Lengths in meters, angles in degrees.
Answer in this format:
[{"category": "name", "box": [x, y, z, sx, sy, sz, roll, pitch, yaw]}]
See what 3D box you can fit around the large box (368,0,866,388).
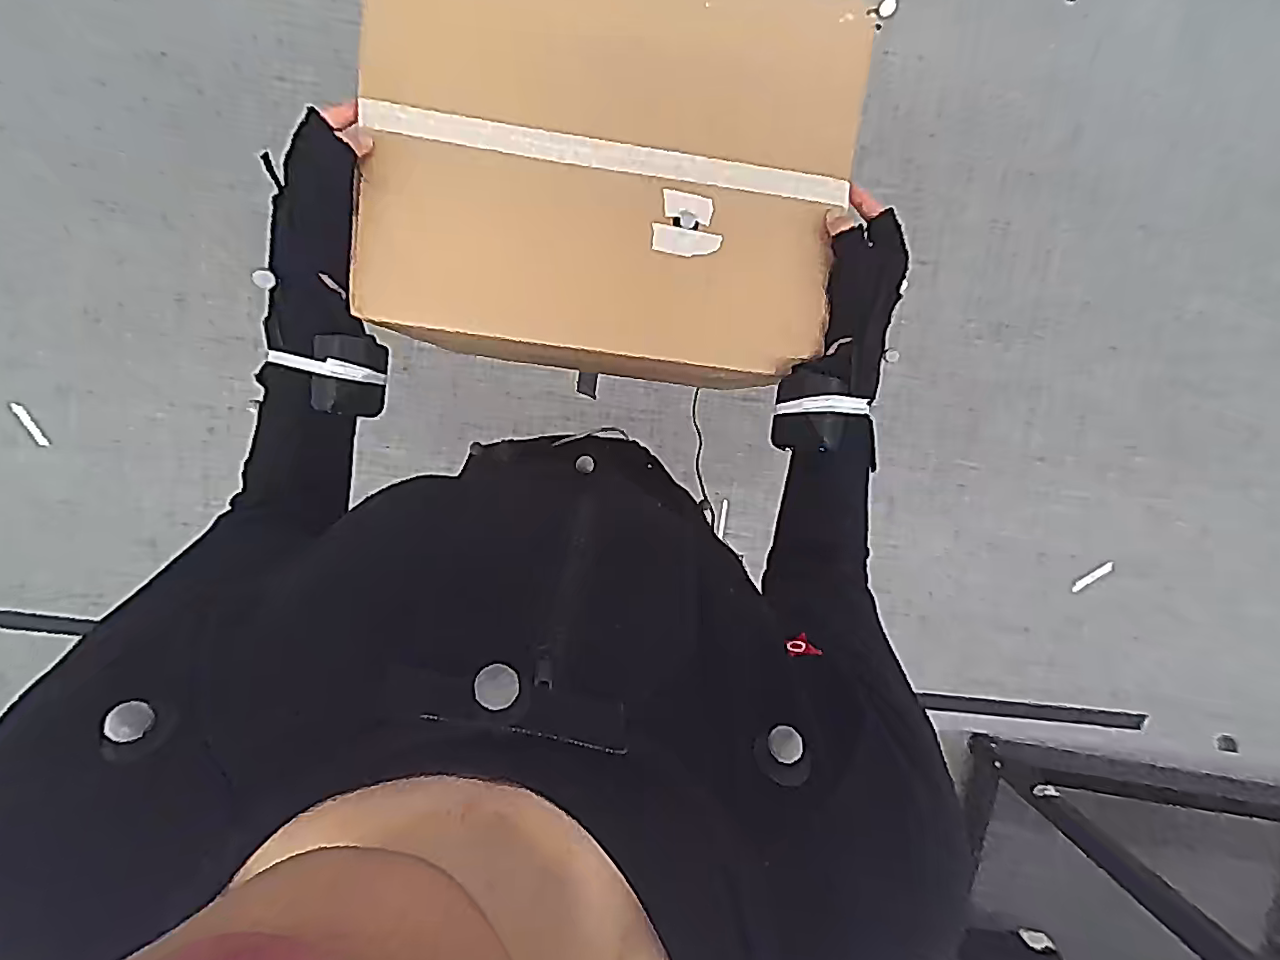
[{"category": "large box", "box": [-0.034, -0.284, 0.605, 0.408, 0.320, 0.320, 7, 98, -6]}]
